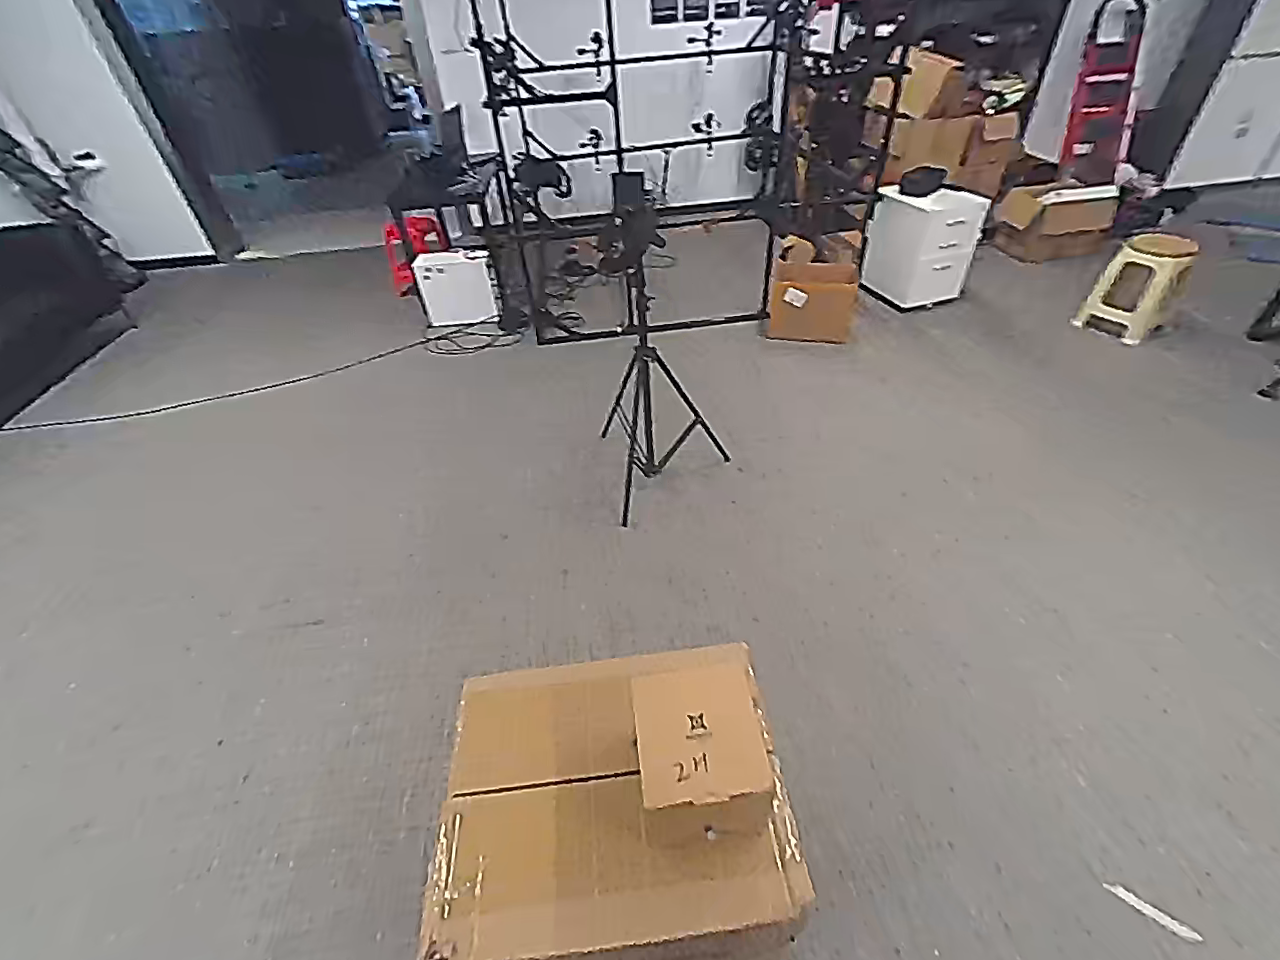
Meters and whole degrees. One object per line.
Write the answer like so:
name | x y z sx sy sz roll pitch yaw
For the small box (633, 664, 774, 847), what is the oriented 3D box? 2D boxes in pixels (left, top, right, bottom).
small box | 0.082 0.394 0.777 0.168 0.176 0.179 -8 42 -2
